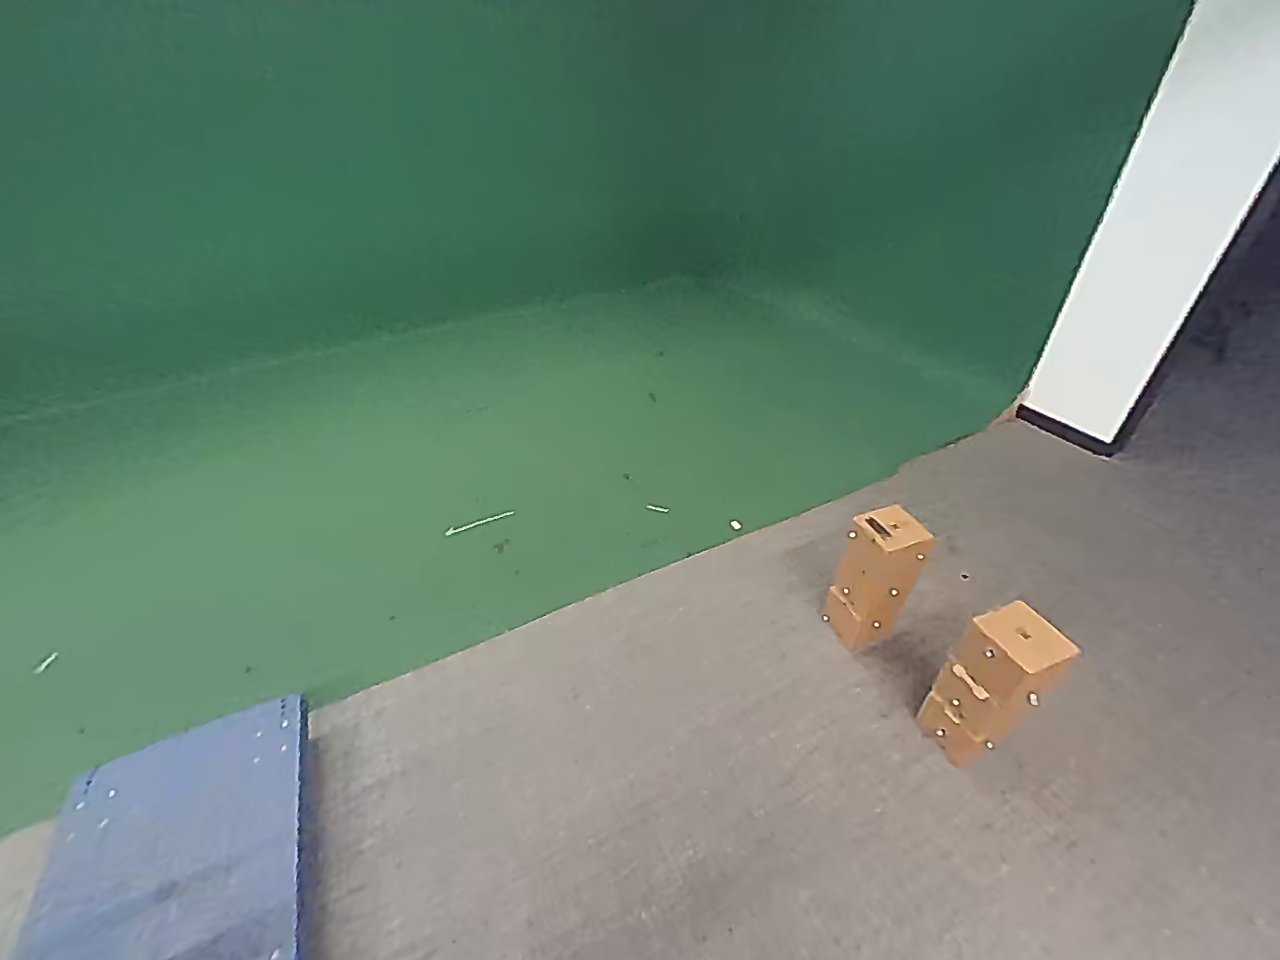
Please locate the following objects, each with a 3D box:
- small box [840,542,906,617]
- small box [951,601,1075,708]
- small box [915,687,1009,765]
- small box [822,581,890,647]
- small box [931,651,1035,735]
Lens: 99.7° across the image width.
[{"bbox_3d":[0.780,0.335,1.830,0.168,0.176,0.179,4,38,11],"label":"small box"},{"bbox_3d":[0.948,0.449,1.396,0.168,0.176,0.179,-14,40,-13],"label":"small box"},{"bbox_3d":[0.948,0.705,1.601,0.179,0.176,0.168,-17,41,-16],"label":"small box"},{"bbox_3d":[0.768,0.463,1.919,0.179,0.176,0.168,-14,40,-16],"label":"small box"},{"bbox_3d":[0.952,0.573,1.503,0.179,0.176,0.168,-13,39,-14],"label":"small box"}]
